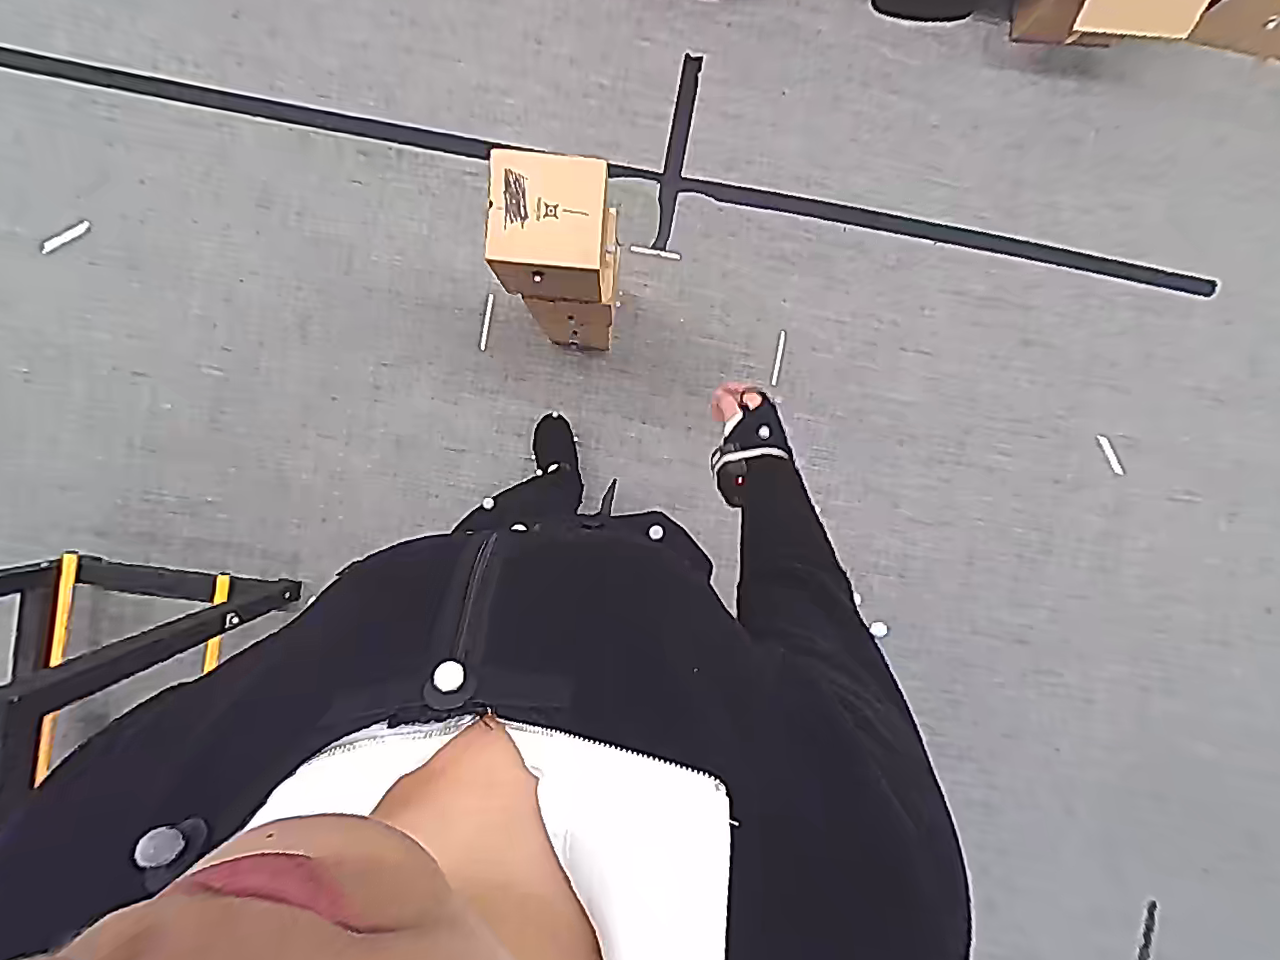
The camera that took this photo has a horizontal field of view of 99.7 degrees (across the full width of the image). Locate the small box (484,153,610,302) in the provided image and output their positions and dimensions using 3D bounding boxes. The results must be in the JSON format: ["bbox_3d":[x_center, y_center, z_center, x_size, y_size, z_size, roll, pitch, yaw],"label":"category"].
[{"bbox_3d":[-0.143,-0.403,0.890,0.179,0.176,0.168,4,92,-3],"label":"small box"}]

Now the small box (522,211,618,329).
[{"bbox_3d":[-0.130,-0.407,1.055,0.168,0.176,0.179,3,92,-2],"label":"small box"}]

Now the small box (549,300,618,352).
[{"bbox_3d":[-0.146,-0.439,1.383,0.168,0.176,0.179,7,93,-2],"label":"small box"}]

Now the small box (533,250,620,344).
[{"bbox_3d":[-0.136,-0.415,1.220,0.168,0.176,0.179,8,92,-2],"label":"small box"}]
